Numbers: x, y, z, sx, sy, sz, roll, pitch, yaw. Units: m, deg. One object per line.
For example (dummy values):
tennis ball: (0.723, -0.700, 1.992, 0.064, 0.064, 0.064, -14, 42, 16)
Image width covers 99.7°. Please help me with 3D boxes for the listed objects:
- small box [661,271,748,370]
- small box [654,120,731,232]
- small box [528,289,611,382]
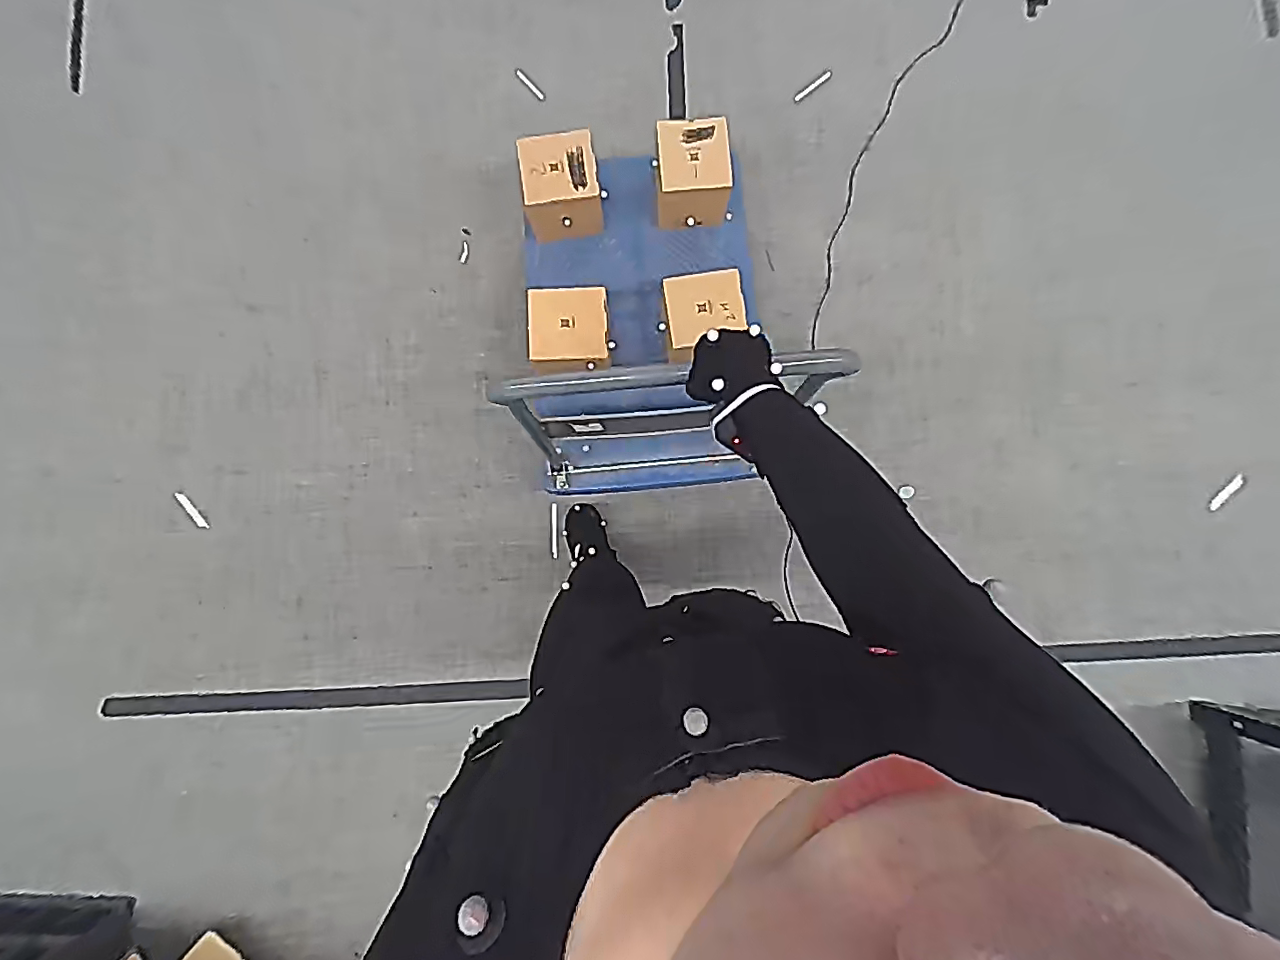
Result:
small box: (0.146, -0.372, 1.288, 0.179, 0.176, 0.168, -8, 84, -1)
small box: (0.123, -0.741, 1.329, 0.168, 0.176, 0.179, -5, 85, -1)
small box: (-0.163, -0.337, 1.285, 0.179, 0.176, 0.168, -3, 83, -2)
